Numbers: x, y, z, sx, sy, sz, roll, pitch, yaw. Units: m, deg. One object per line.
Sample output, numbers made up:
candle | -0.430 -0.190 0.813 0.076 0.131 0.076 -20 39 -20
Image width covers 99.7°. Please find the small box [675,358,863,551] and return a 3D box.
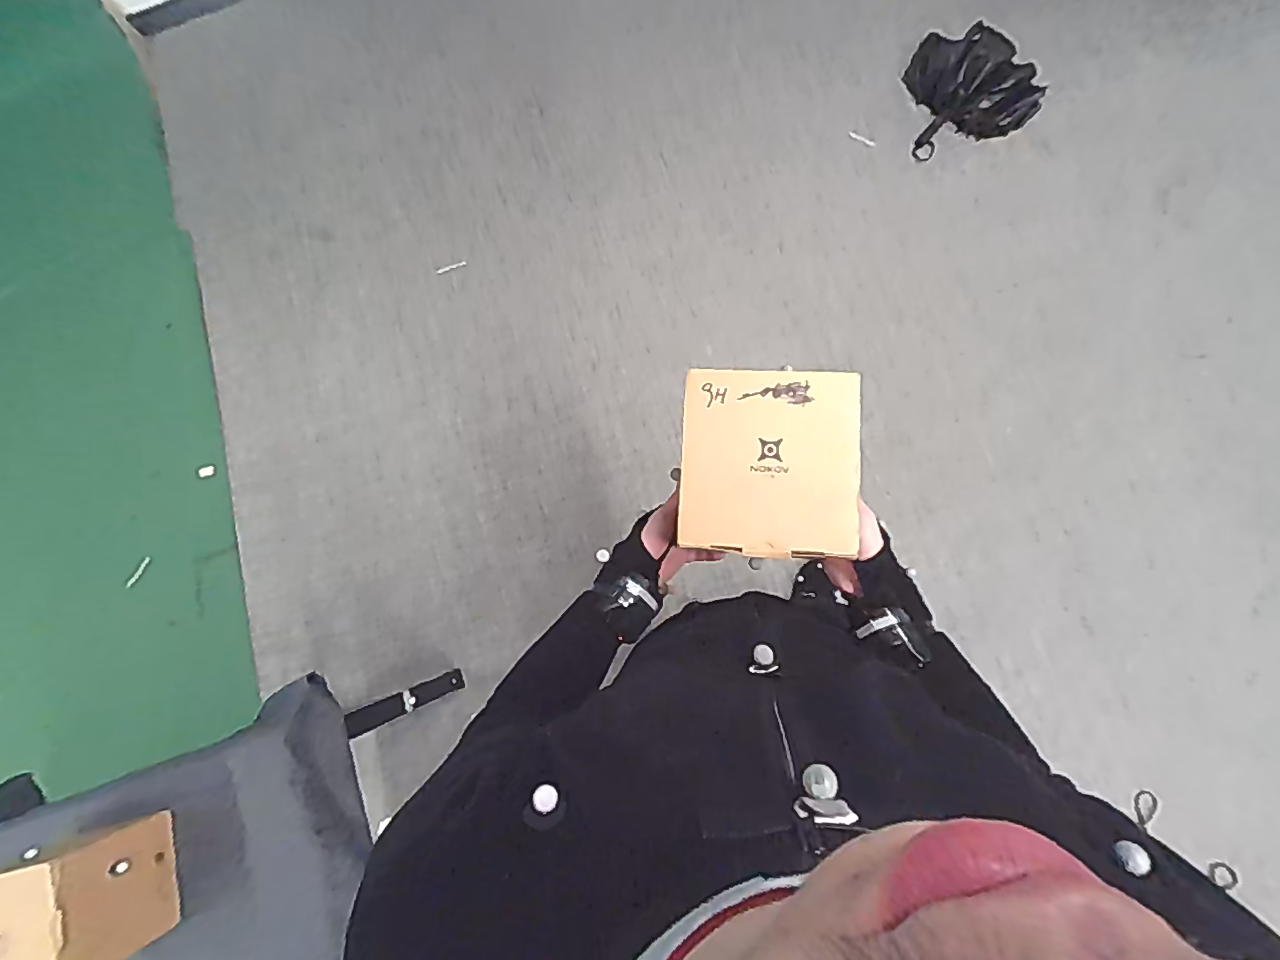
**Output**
small box | 0.128 -0.017 0.576 0.168 0.176 0.179 3 82 6

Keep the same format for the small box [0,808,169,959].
small box | -0.813 0.595 0.763 0.179 0.176 0.168 -17 77 3
